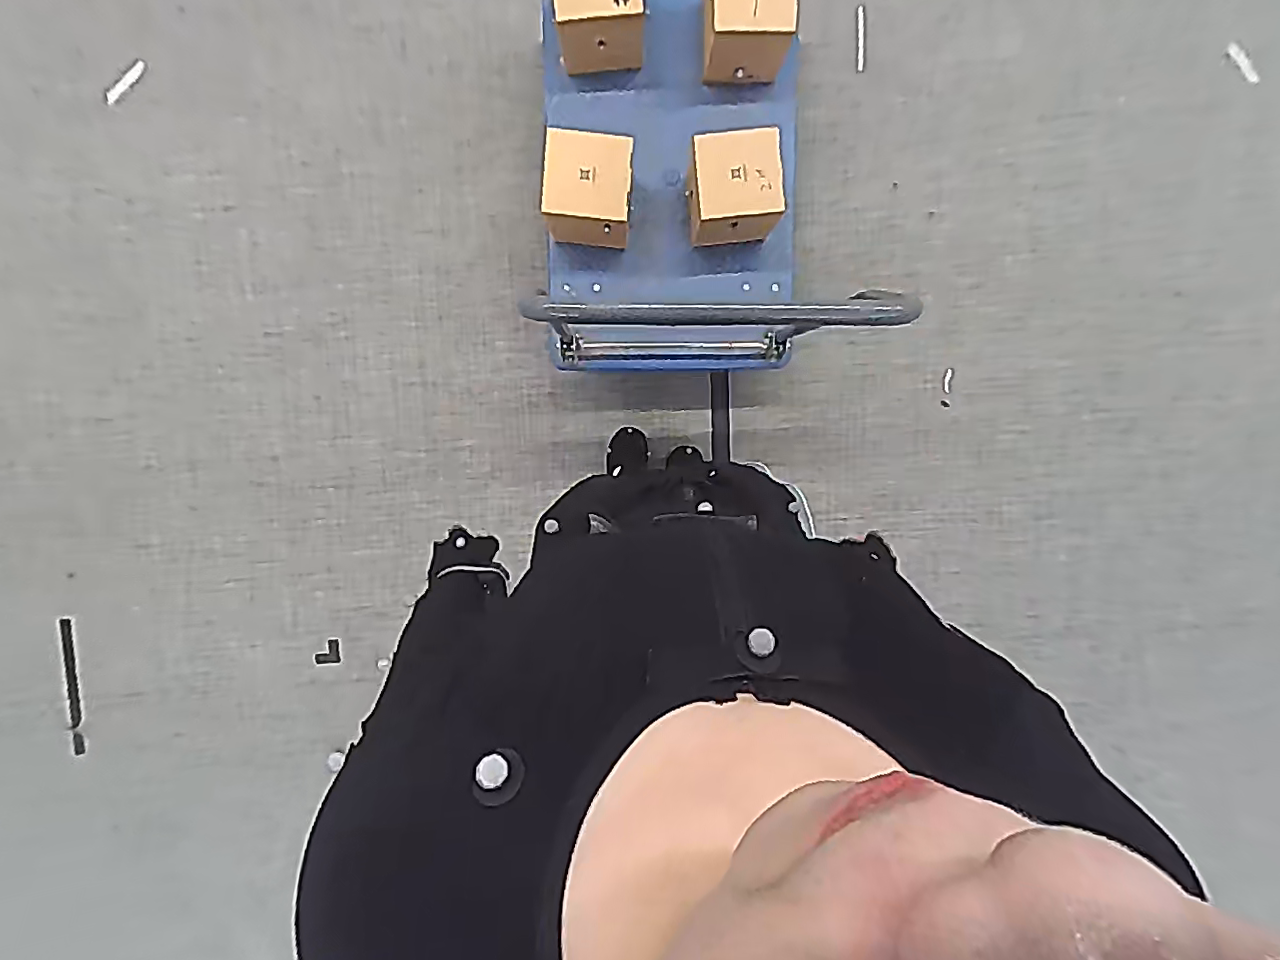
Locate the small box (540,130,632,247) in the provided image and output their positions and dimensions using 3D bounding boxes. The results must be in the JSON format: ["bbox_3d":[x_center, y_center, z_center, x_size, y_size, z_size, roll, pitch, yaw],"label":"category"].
[{"bbox_3d":[-0.113,-0.620,1.170,0.179,0.176,0.168,5,95,-3],"label":"small box"}]

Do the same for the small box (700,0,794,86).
[{"bbox_3d":[0.220,-0.979,1.141,0.168,0.176,0.179,0,97,-1],"label":"small box"}]

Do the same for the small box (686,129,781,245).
[{"bbox_3d":[0.194,-0.626,1.176,0.179,0.176,0.168,-6,96,-1],"label":"small box"}]
